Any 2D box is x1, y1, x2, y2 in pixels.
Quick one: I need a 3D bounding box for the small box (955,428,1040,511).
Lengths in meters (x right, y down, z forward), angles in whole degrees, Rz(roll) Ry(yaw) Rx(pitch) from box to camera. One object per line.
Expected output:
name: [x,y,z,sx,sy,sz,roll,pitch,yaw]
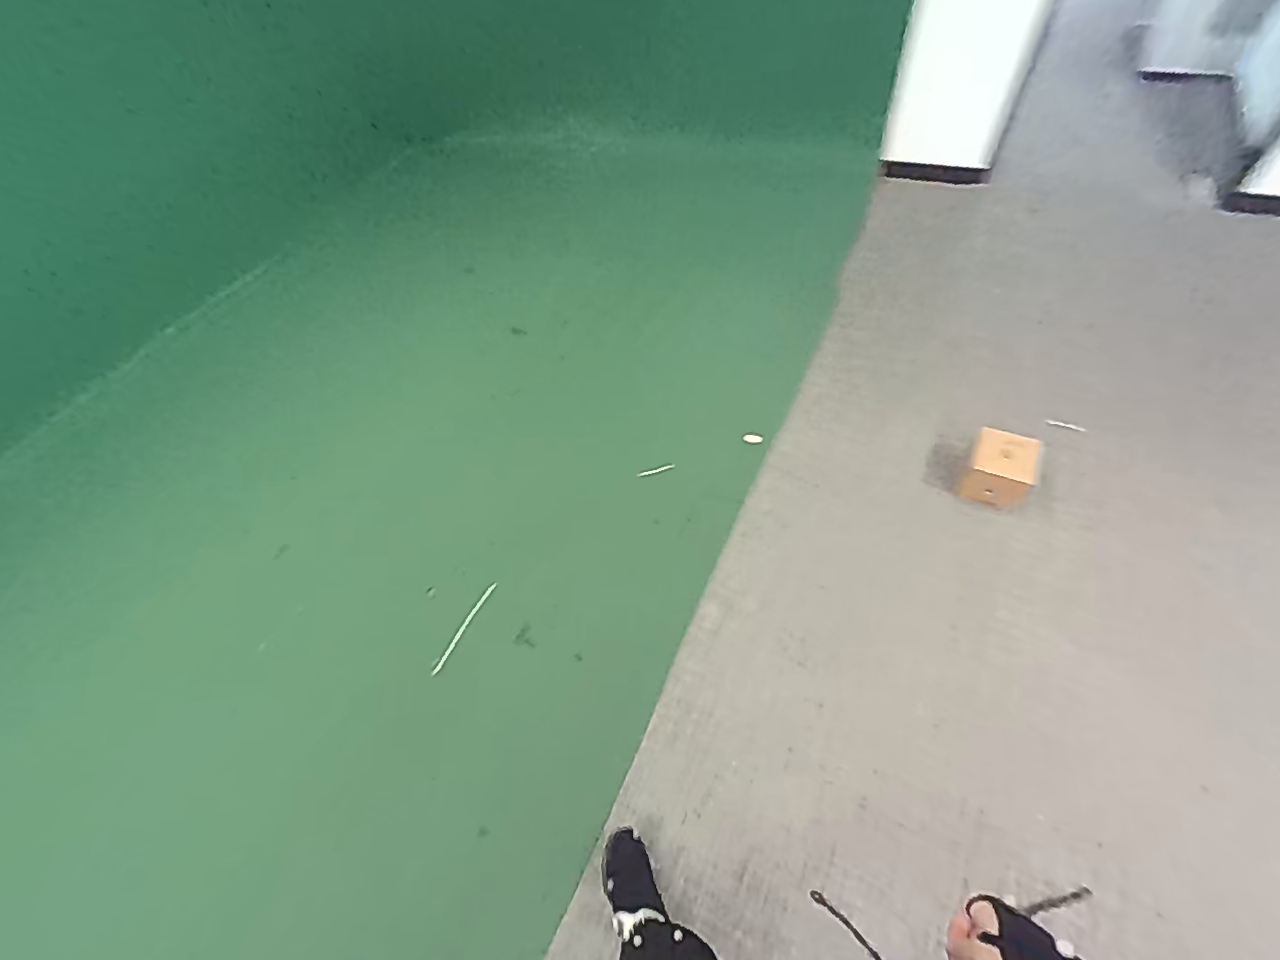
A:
small box: [1.108,-0.028,1.686,0.168,0.176,0.179,20,61,20]
